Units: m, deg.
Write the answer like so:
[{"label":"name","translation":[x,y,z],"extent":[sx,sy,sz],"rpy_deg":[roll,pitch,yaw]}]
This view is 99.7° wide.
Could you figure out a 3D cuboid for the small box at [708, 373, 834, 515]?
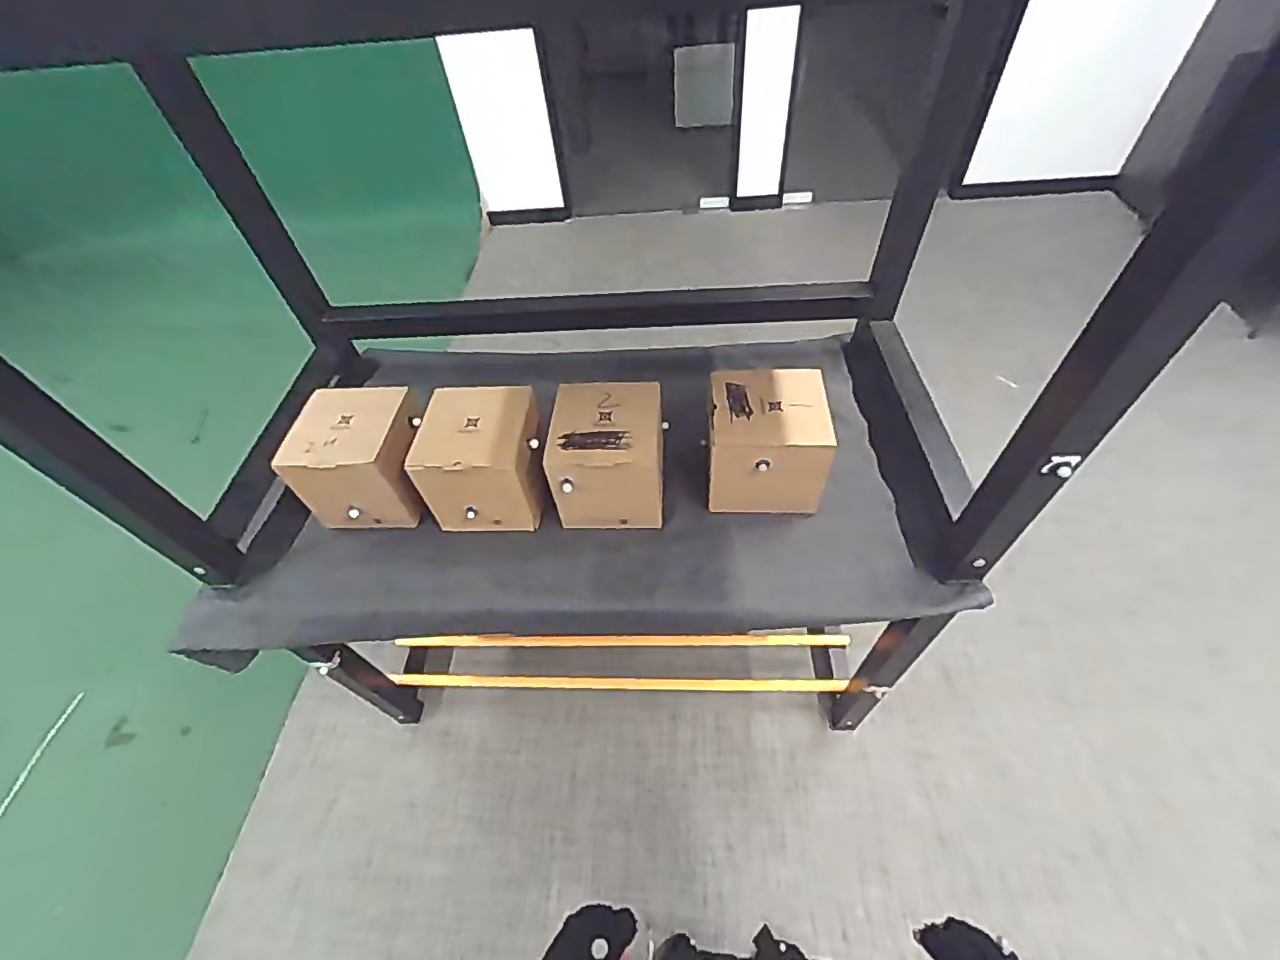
[{"label":"small box","translation":[0.201,-0.056,0.881],"extent":[0.179,0.176,0.168],"rpy_deg":[1,52,5]}]

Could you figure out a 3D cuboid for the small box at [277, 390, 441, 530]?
[{"label":"small box","translation":[-0.460,-0.034,0.923],"extent":[0.168,0.176,0.179],"rpy_deg":[-1,50,5]}]
